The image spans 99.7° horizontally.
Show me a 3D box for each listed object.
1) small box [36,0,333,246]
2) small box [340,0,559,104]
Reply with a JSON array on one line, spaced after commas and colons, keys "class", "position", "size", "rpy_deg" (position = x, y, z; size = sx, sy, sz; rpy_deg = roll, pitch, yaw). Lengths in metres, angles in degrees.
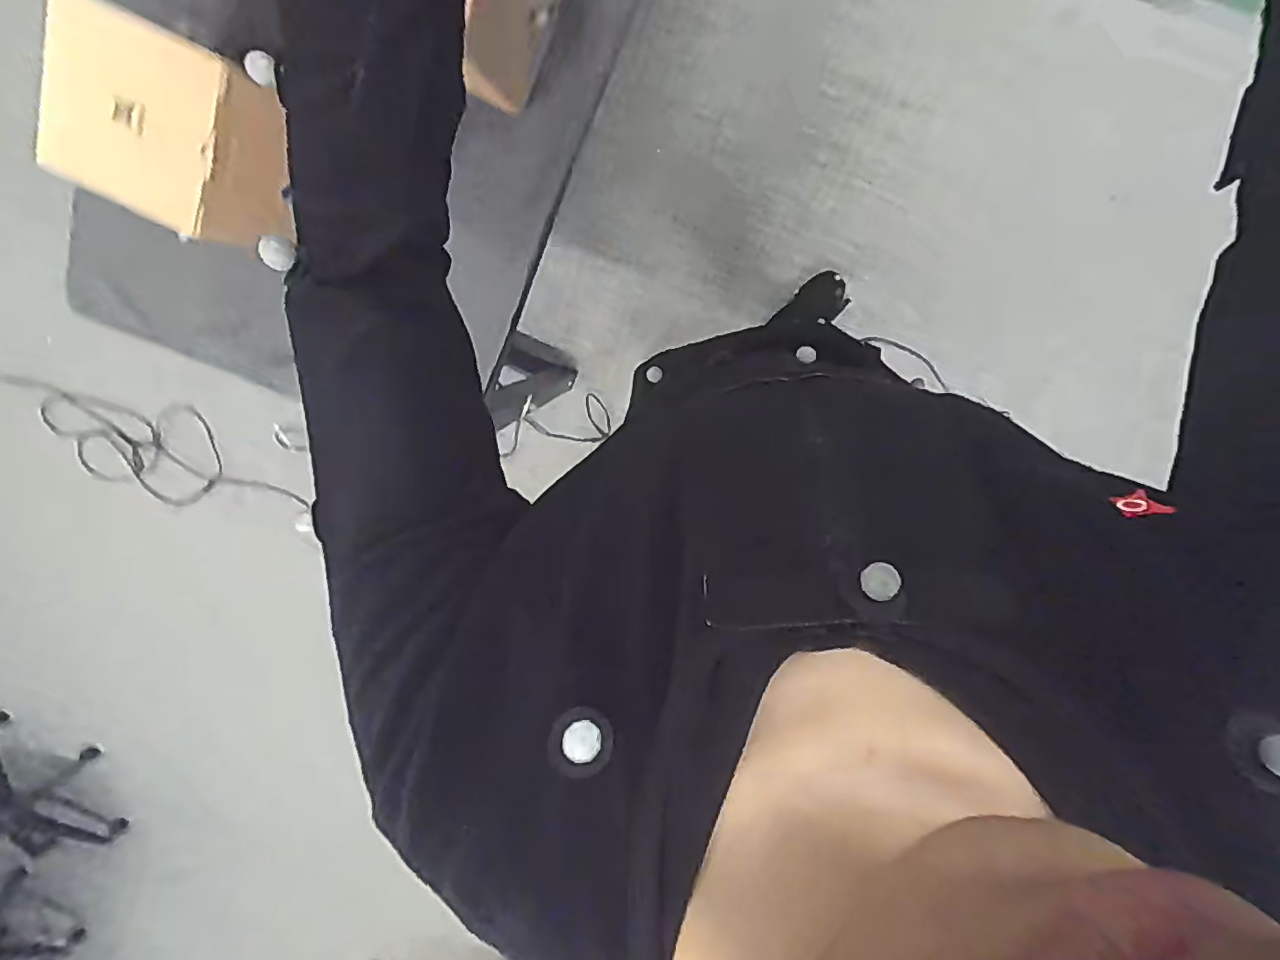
[{"class": "small box", "position": [-0.488, -0.377, 0.599], "size": [0.179, 0.176, 0.168], "rpy_deg": [25, 108, -2]}, {"class": "small box", "position": [-0.193, -0.510, 0.524], "size": [0.179, 0.176, 0.168], "rpy_deg": [27, 108, -2]}]
